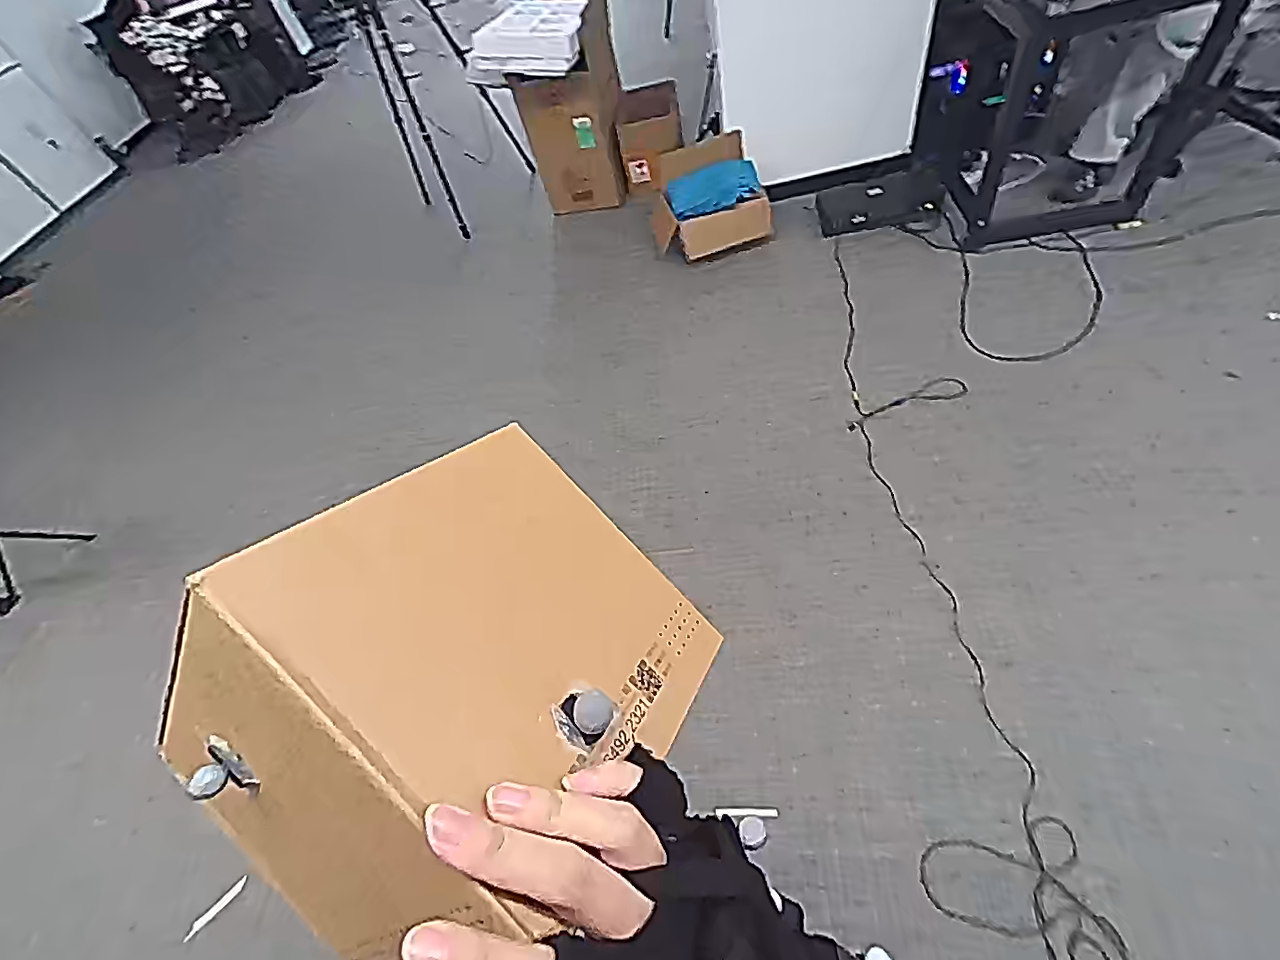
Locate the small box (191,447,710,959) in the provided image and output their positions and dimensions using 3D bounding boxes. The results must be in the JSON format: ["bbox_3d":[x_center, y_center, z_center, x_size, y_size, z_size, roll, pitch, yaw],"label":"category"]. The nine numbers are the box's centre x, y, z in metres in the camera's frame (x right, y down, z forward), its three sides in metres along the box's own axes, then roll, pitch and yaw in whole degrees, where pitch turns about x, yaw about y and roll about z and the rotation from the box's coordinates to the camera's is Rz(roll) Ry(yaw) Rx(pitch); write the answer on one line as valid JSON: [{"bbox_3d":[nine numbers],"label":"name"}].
[{"bbox_3d":[-0.095,0.119,0.295,0.176,0.179,0.168,45,35,2],"label":"small box"}]
